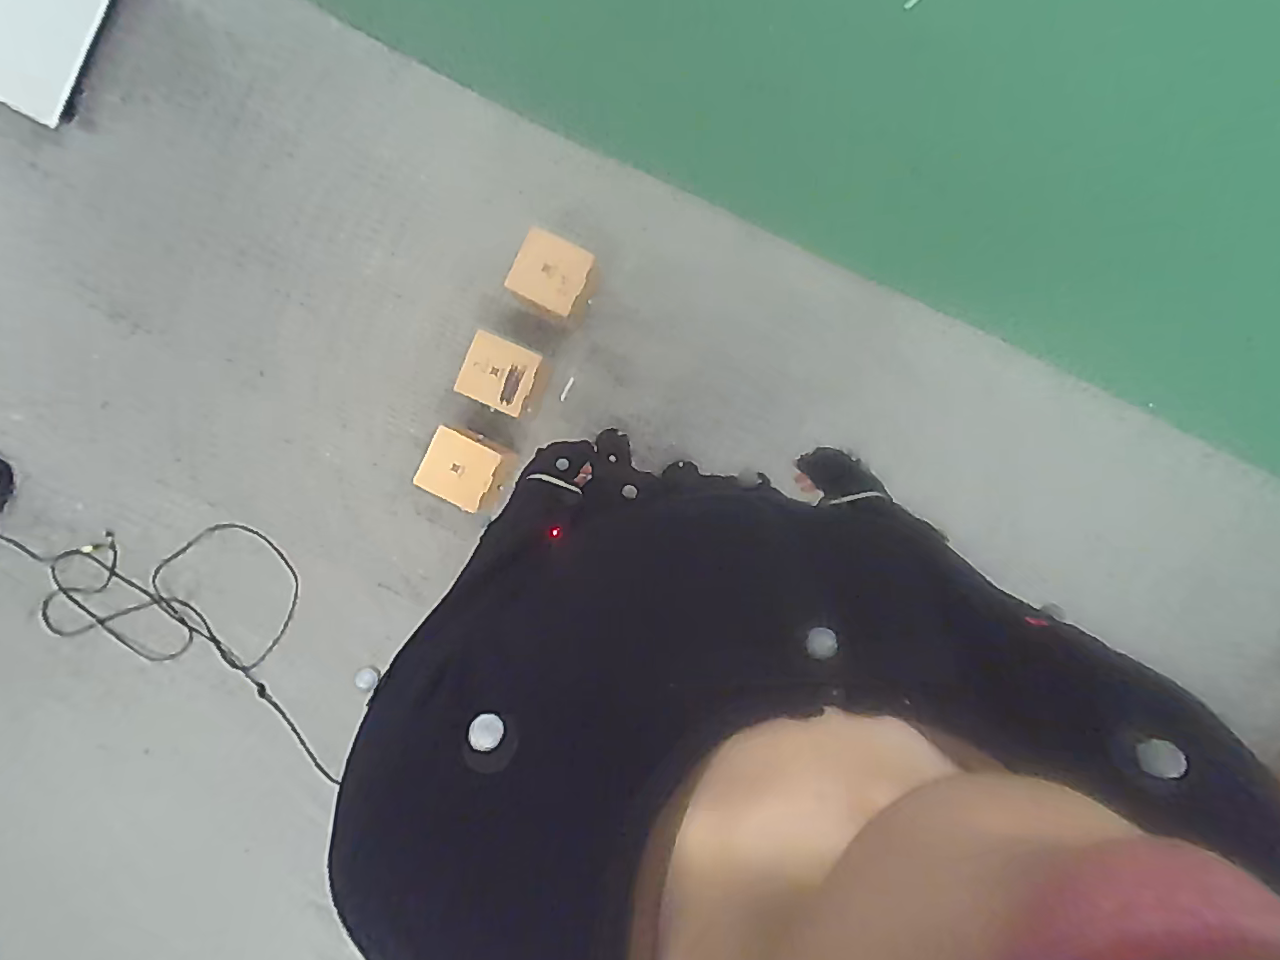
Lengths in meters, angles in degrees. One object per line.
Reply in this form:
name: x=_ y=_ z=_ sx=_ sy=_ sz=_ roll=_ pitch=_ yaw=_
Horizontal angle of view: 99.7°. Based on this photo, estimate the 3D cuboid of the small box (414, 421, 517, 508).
small box: x=-0.451 y=-0.040 z=1.423 sx=0.179 sy=0.176 sz=0.168 roll=27 pitch=93 yaw=0

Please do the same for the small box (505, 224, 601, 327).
small box: x=-0.217 y=-0.515 z=1.394 sx=0.179 sy=0.176 sz=0.168 roll=27 pitch=93 yaw=-1
